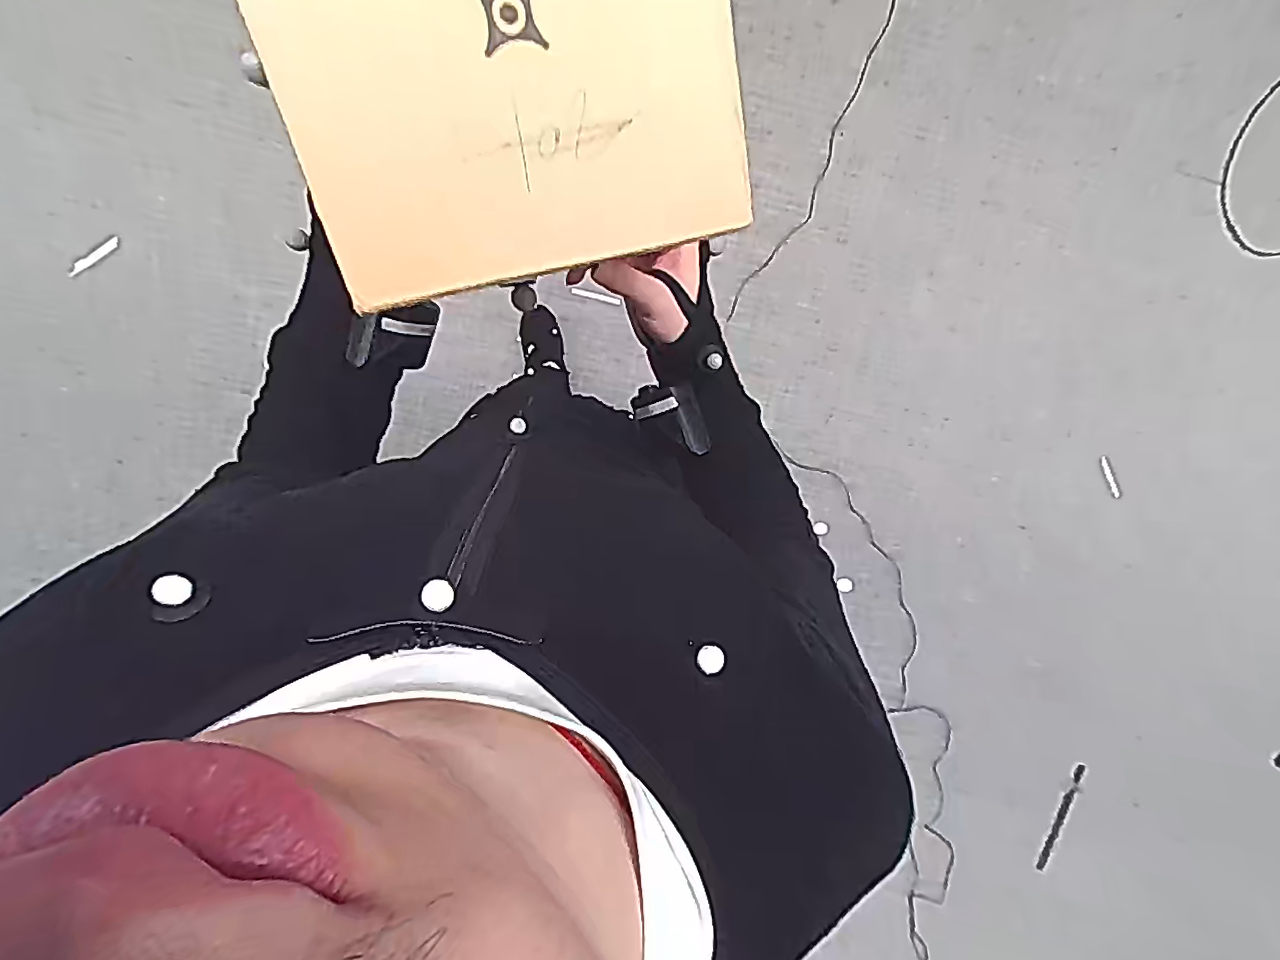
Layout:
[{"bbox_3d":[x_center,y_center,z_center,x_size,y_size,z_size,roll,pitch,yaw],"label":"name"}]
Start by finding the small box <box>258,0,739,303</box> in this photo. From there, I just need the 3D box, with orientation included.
[{"bbox_3d":[-0.069,-0.193,0.270,0.168,0.176,0.179,-16,113,-10],"label":"small box"}]
